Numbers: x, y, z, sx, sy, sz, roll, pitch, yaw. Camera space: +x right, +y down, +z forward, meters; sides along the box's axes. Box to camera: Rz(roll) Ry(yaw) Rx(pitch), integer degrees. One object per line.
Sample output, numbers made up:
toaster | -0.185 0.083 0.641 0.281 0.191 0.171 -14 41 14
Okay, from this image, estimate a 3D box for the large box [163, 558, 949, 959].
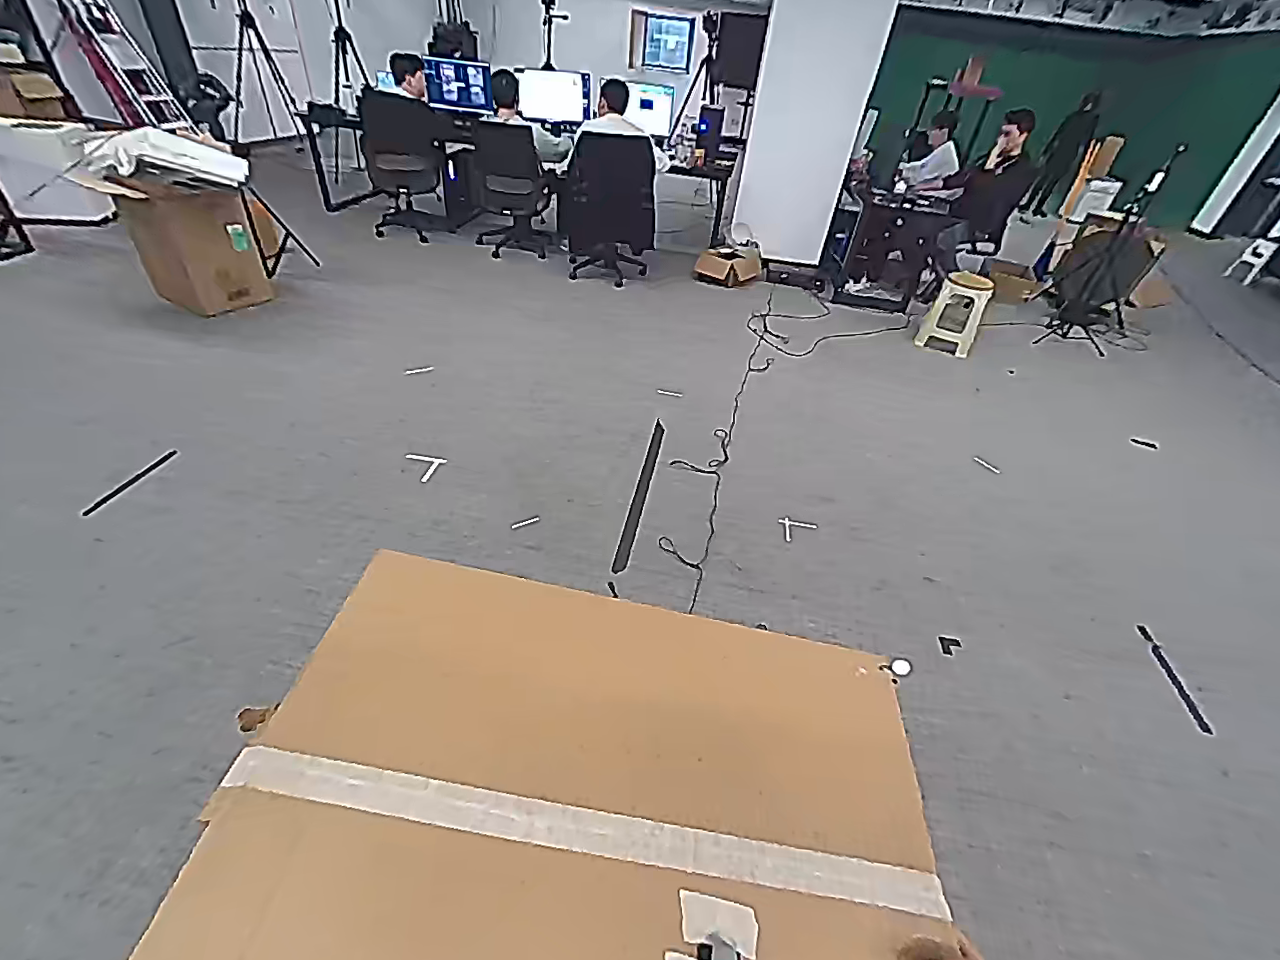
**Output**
large box | -0.047 0.309 0.419 0.408 0.320 0.320 14 44 -3
